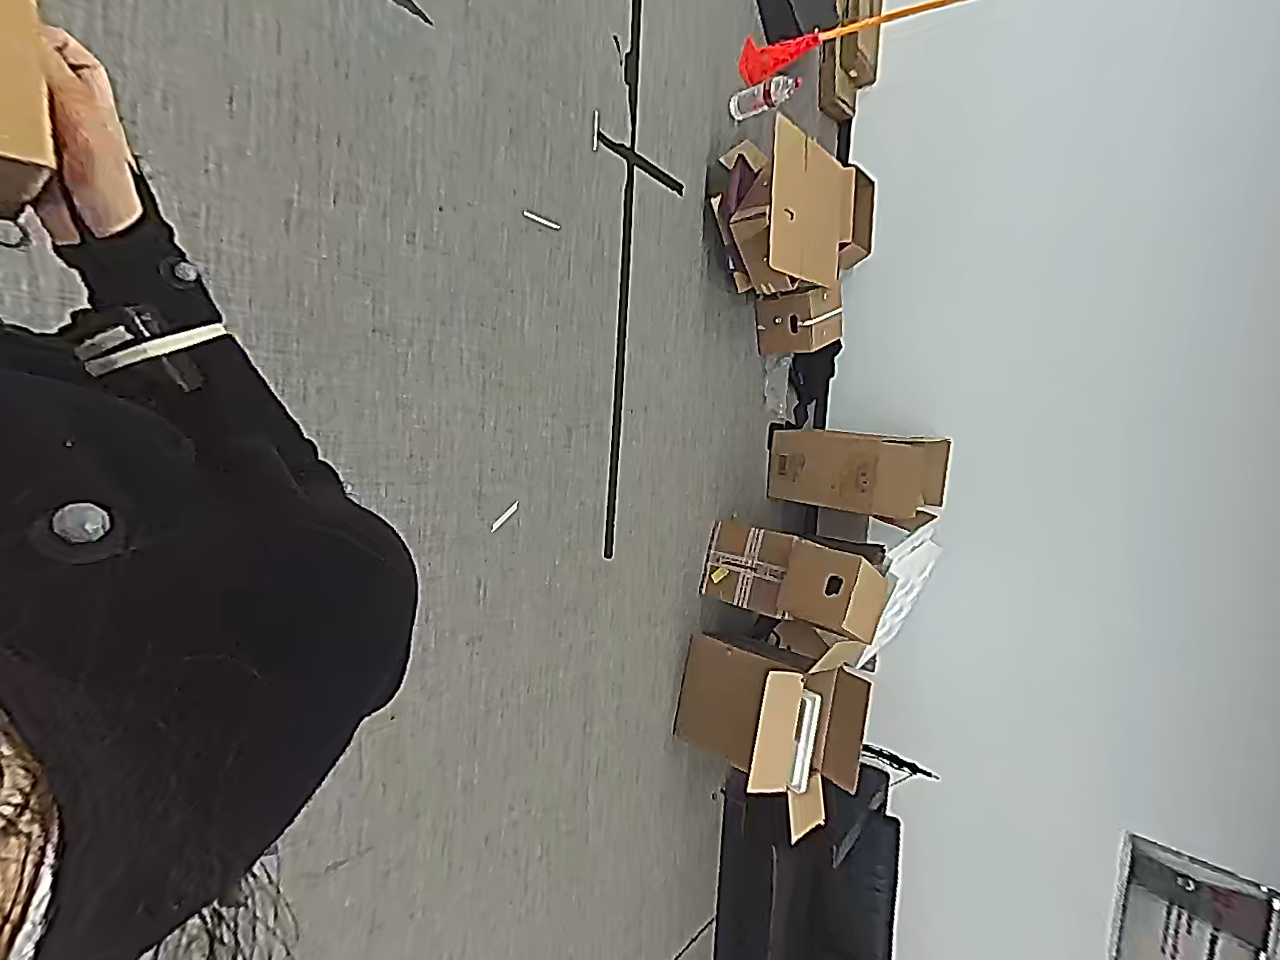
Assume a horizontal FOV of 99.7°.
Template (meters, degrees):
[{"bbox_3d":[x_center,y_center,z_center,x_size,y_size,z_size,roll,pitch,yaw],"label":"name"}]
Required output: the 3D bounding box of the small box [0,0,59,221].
[{"bbox_3d":[-0.399,-0.238,0.244,0.168,0.176,0.179,-9,102,-53],"label":"small box"}]
